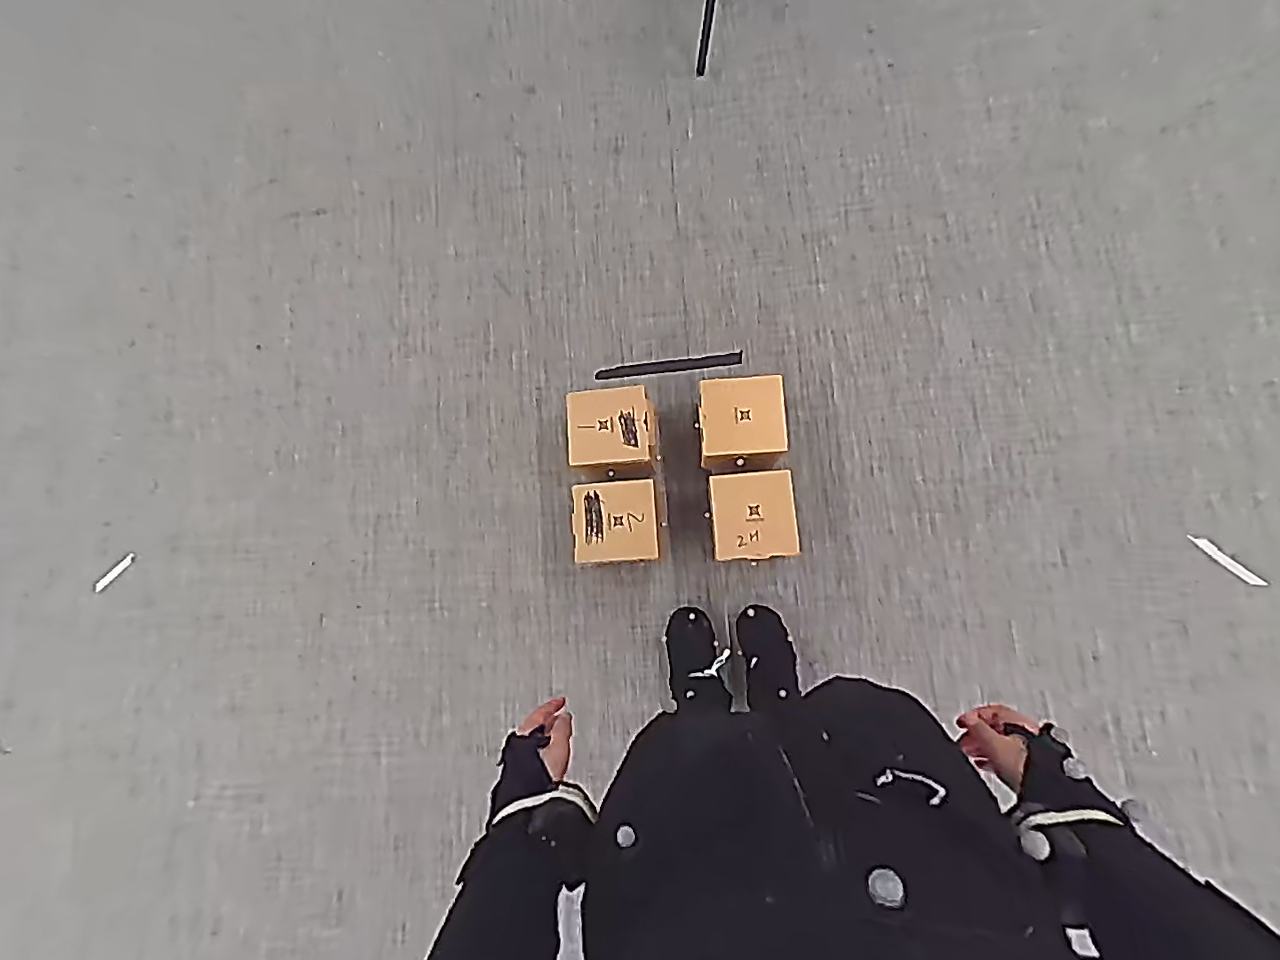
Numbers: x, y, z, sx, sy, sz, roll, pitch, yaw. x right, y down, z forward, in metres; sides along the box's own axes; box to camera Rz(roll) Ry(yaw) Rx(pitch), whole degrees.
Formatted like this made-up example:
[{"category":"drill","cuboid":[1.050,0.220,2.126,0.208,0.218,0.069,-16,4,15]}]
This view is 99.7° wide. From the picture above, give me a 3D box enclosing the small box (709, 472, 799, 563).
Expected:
[{"category":"small box","cuboid":[0.240,0.088,1.177,0.168,0.176,0.179,-5,81,6]}]
